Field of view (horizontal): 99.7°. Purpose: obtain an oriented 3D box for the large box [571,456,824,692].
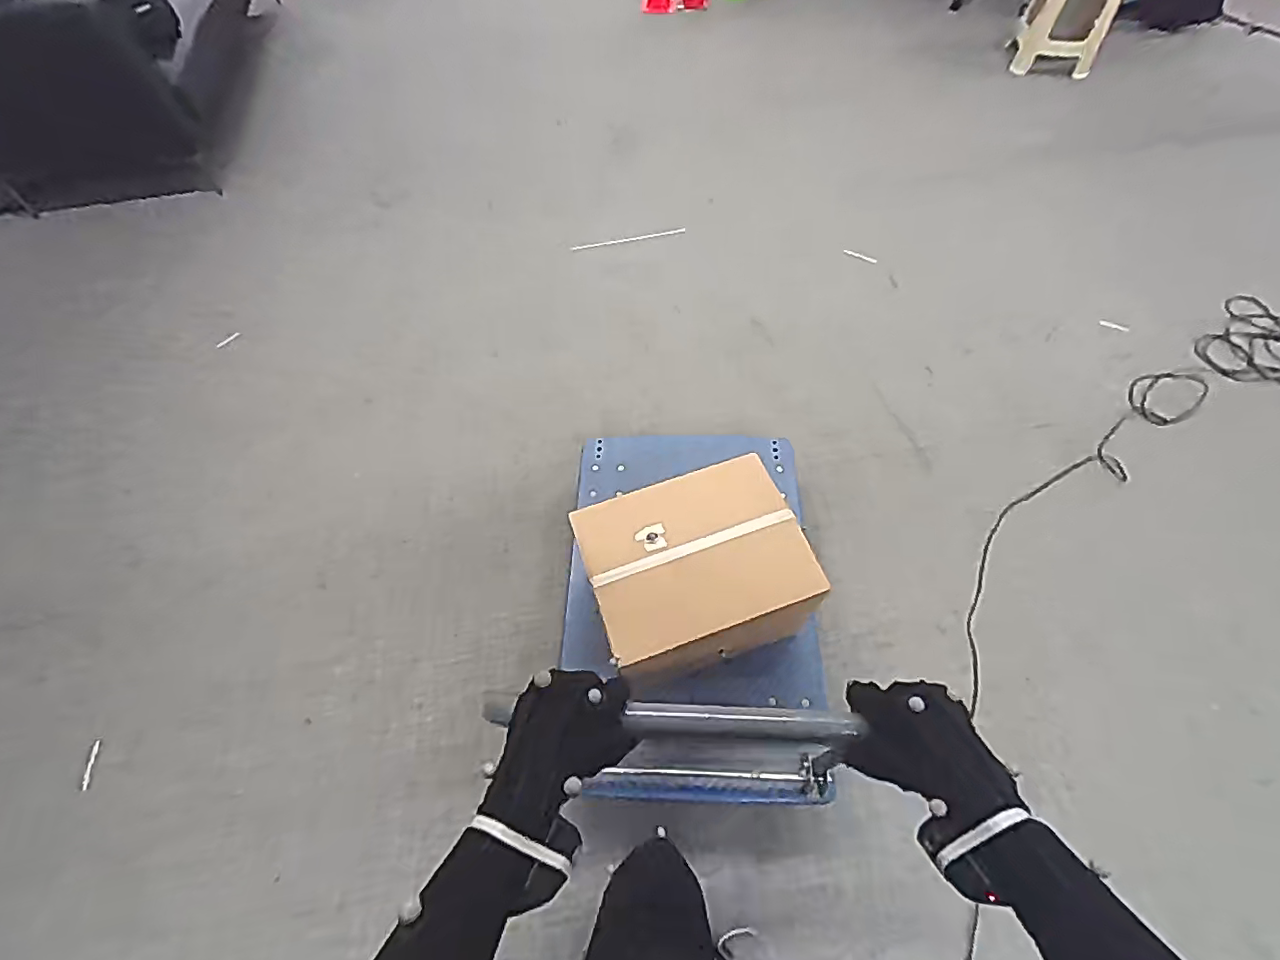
[{"bbox_3d":[0.107,0.209,1.149,0.408,0.320,0.320,-19,60,-7],"label":"large box"}]
